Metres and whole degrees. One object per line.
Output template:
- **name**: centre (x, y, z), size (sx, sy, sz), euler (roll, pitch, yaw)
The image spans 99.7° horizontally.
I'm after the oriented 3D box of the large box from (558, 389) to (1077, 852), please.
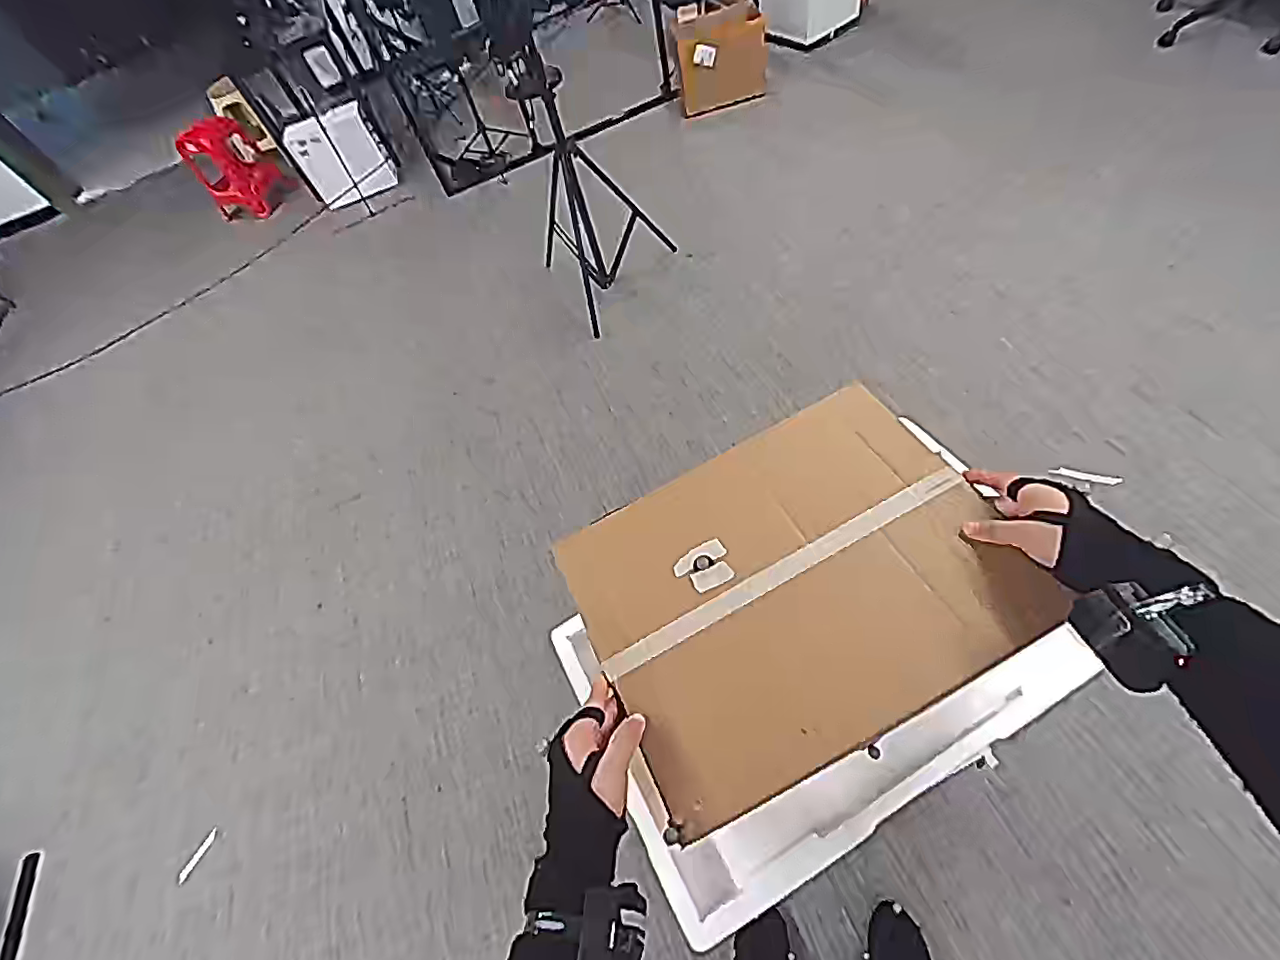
- **large box**: centre (0.179, 0.171, 0.657), size (0.408, 0.320, 0.320), euler (-30, 55, -3)
